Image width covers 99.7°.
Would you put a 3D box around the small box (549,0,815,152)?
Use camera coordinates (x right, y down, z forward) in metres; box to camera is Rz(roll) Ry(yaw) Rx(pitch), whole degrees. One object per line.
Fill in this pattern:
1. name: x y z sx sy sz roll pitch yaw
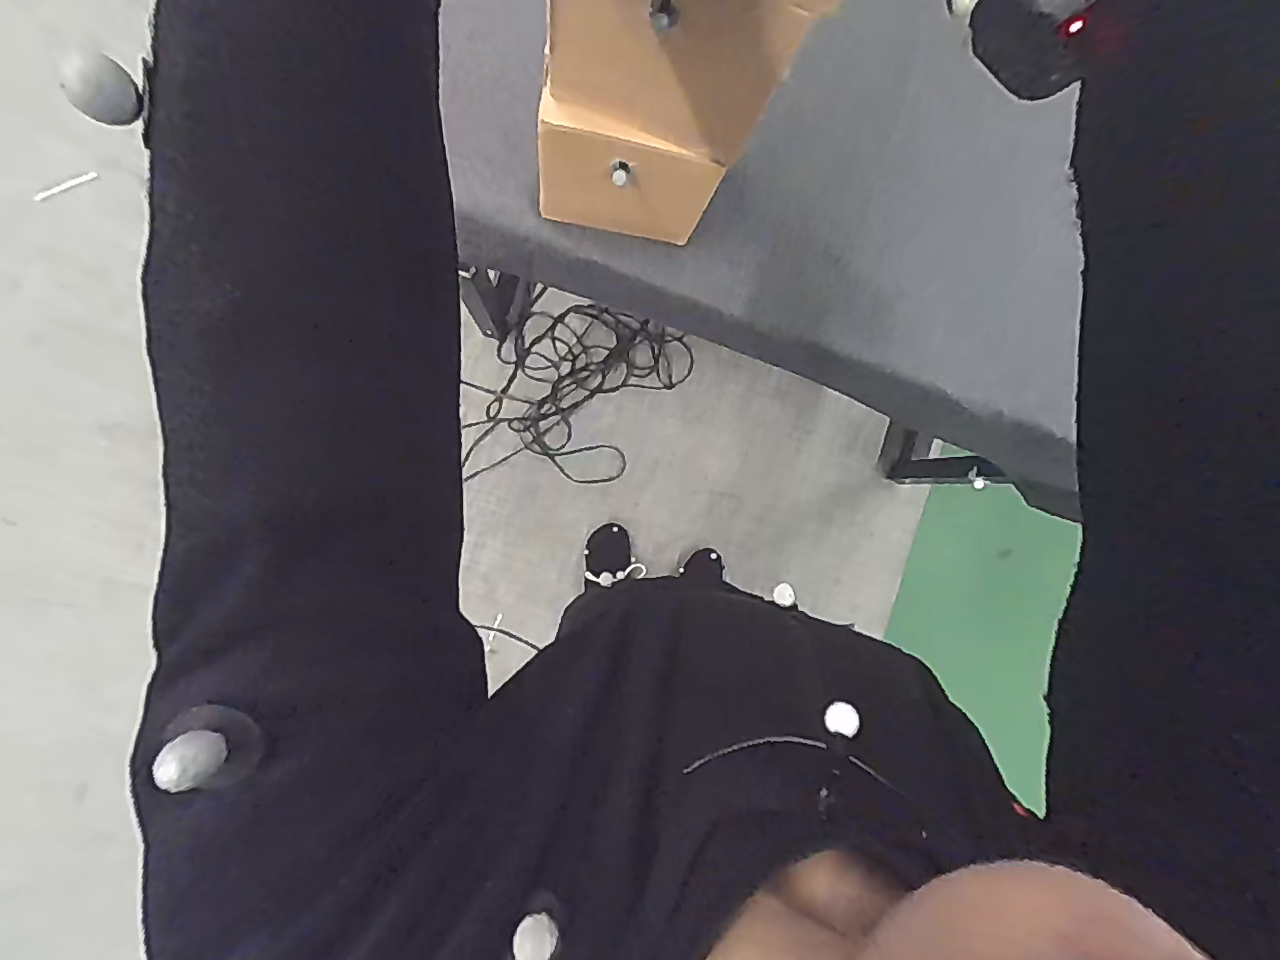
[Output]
1. small box: 0.035 -0.386 0.400 0.179 0.176 0.168 17 88 -8

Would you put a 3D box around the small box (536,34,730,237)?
1. small box: -0.006 -0.376 0.557 0.179 0.176 0.168 8 88 -8
